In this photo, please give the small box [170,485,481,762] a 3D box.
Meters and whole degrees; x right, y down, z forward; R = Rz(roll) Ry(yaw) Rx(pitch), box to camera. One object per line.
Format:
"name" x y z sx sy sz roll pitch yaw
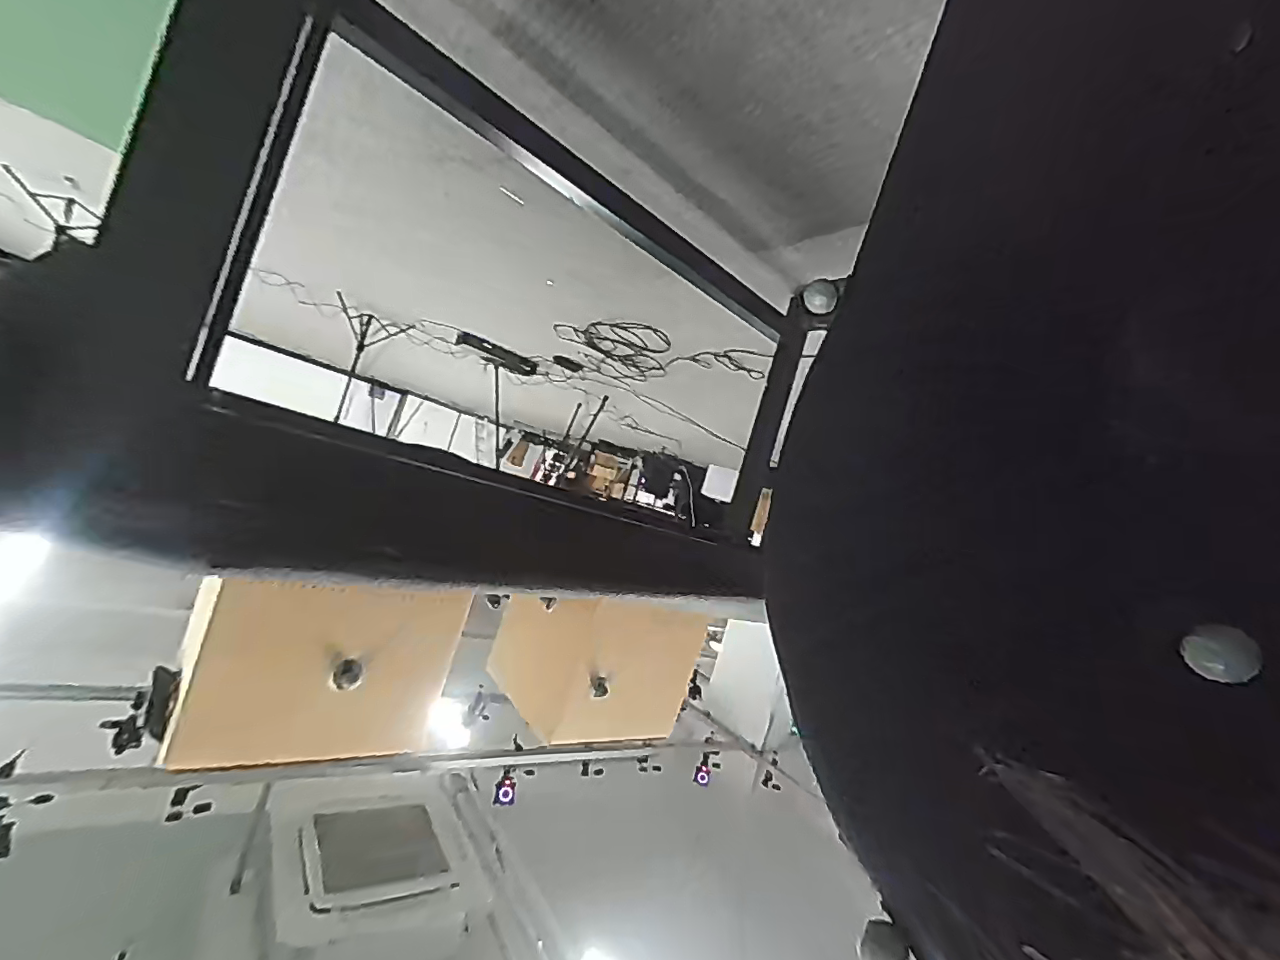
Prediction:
"small box" -0.268 0.111 0.470 0.179 0.176 0.168 17 -178 -39
